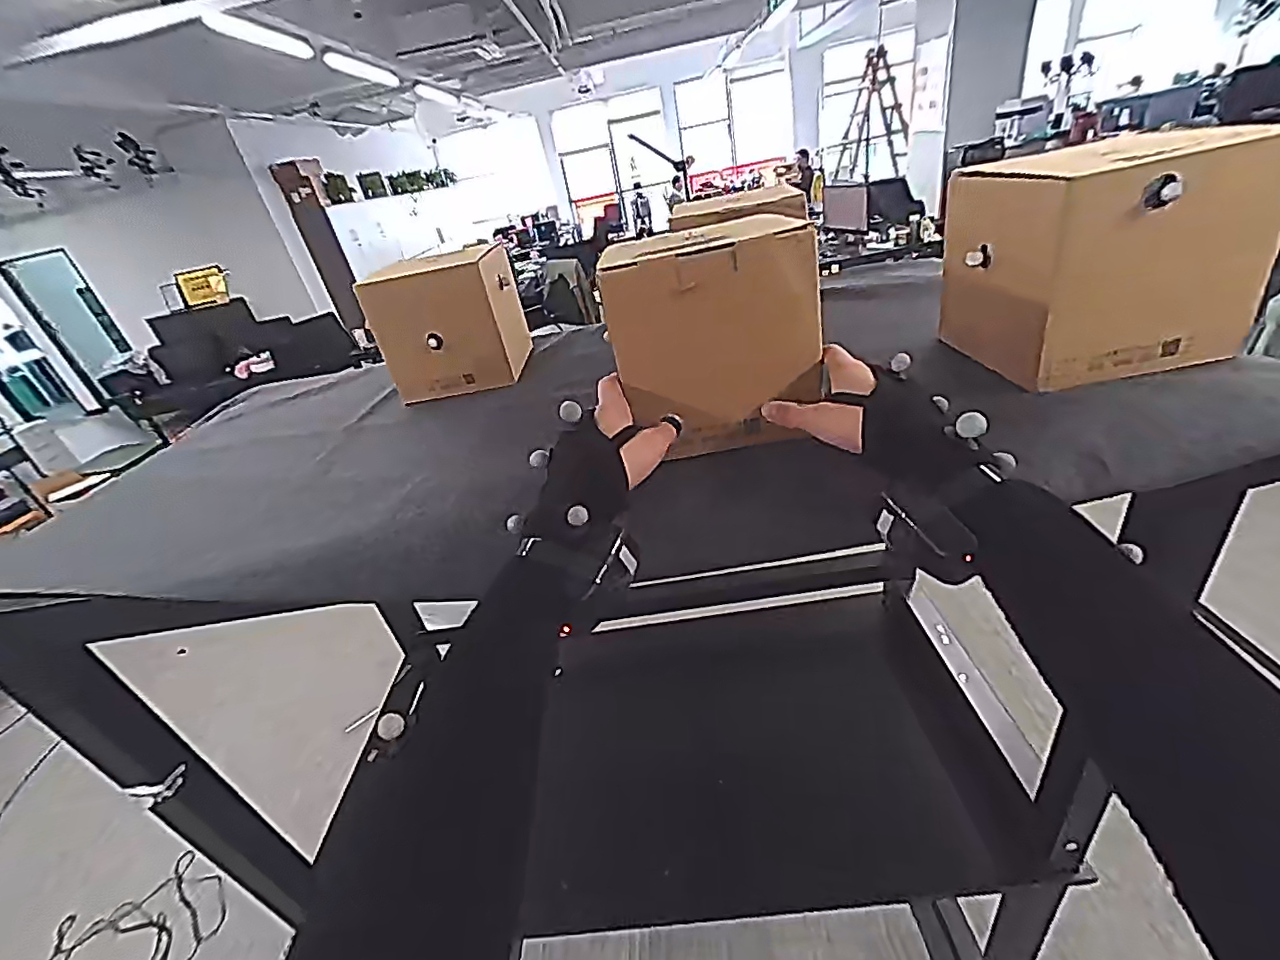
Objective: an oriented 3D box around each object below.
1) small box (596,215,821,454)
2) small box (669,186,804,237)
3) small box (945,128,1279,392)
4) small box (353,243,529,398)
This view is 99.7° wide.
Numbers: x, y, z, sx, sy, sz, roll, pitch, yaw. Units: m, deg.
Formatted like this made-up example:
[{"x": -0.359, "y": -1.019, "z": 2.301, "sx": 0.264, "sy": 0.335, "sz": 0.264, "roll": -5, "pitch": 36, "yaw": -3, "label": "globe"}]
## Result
[{"x": 0.063, "y": -0.133, "z": 0.503, "sx": 0.168, "sy": 0.176, "sz": 0.179, "roll": -10, "pitch": 28, "yaw": 5, "label": "small box"}, {"x": 0.137, "y": -0.298, "z": 0.759, "sx": 0.168, "sy": 0.176, "sz": 0.179, "roll": -6, "pitch": 31, "yaw": 9, "label": "small box"}, {"x": 0.397, "y": -0.193, "z": 0.482, "sx": 0.168, "sy": 0.176, "sz": 0.179, "roll": -11, "pitch": 29, "yaw": 5, "label": "small box"}, {"x": -0.269, "y": -0.227, "z": 0.782, "sx": 0.168, "sy": 0.176, "sz": 0.179, "roll": -9, "pitch": 31, "yaw": 4, "label": "small box"}]
